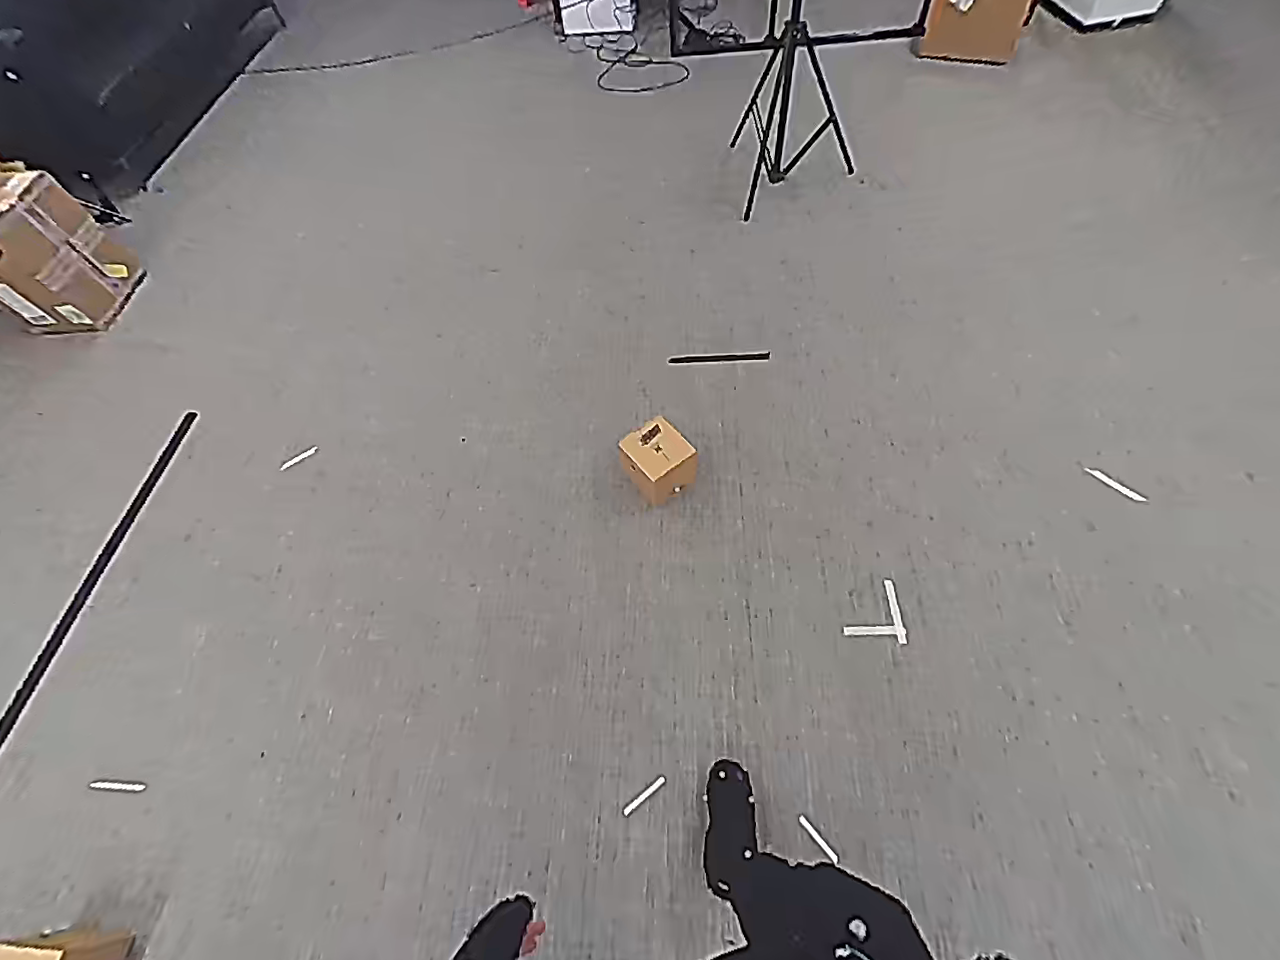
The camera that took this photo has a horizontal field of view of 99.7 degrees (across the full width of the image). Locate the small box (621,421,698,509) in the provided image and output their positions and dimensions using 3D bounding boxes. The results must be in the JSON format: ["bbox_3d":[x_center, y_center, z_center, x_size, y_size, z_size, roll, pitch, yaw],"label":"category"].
[{"bbox_3d":[0.062,-0.042,1.664,0.168,0.176,0.179,-34,62,-14],"label":"small box"}]

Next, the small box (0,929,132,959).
[{"bbox_3d":[-1.233,1.051,1.116,0.179,0.176,0.168,0,60,5],"label":"small box"}]
